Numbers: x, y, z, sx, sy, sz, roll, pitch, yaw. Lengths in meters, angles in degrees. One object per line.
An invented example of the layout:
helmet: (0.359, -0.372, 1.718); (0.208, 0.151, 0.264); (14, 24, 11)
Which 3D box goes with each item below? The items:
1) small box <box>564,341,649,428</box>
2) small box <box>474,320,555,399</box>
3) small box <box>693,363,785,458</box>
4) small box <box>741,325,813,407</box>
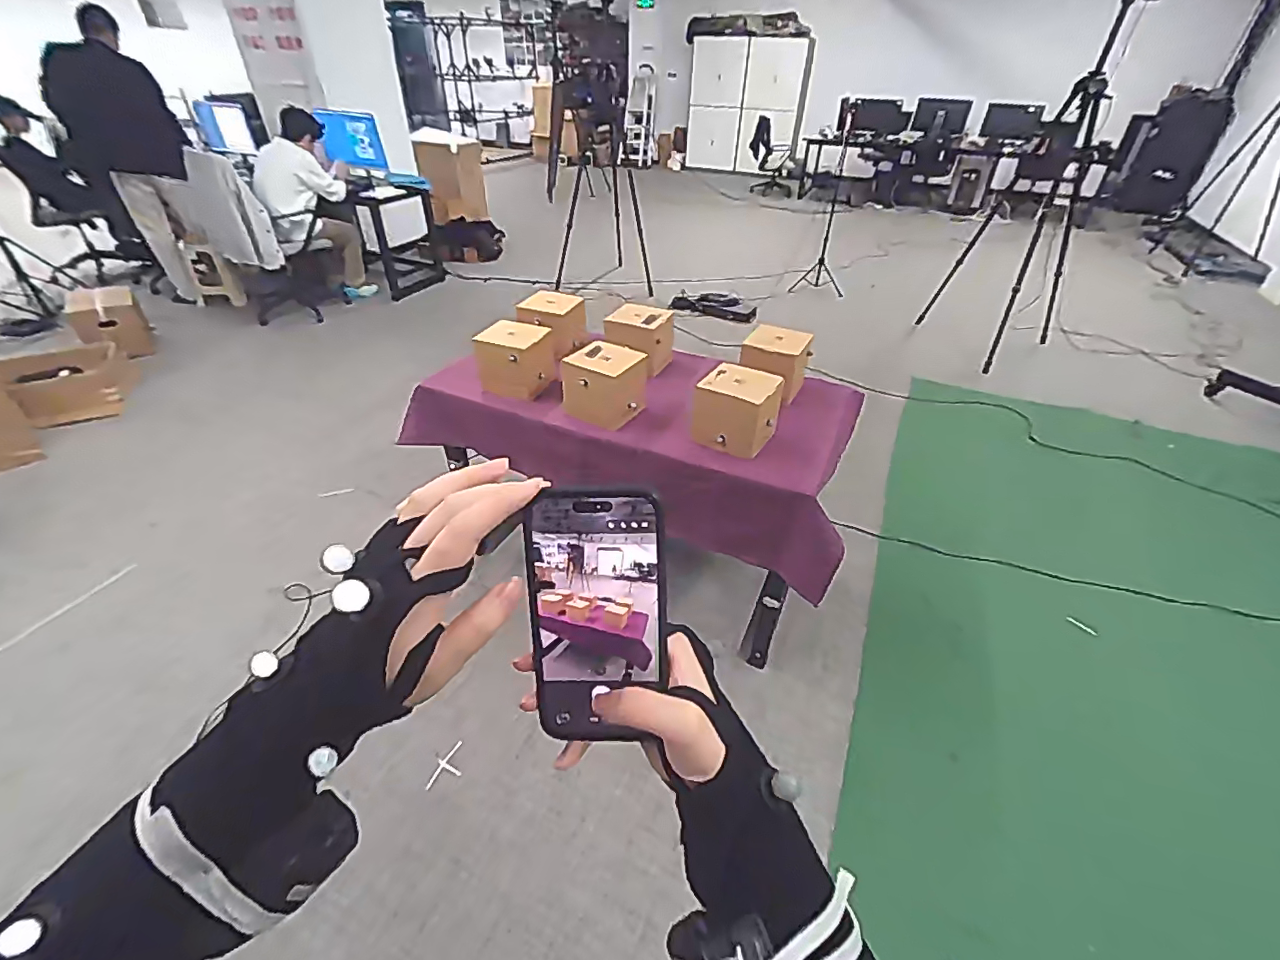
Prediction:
small box: (-0.093, -0.265, 1.510); (0.179, 0.176, 0.168); (22, 42, 23)
small box: (-0.369, -0.361, 1.625); (0.179, 0.176, 0.168); (14, 39, 14)
small box: (0.254, -0.180, 1.413); (0.179, 0.176, 0.168); (23, 42, 24)
small box: (0.405, -0.346, 1.632); (0.168, 0.176, 0.179); (19, 42, 22)
